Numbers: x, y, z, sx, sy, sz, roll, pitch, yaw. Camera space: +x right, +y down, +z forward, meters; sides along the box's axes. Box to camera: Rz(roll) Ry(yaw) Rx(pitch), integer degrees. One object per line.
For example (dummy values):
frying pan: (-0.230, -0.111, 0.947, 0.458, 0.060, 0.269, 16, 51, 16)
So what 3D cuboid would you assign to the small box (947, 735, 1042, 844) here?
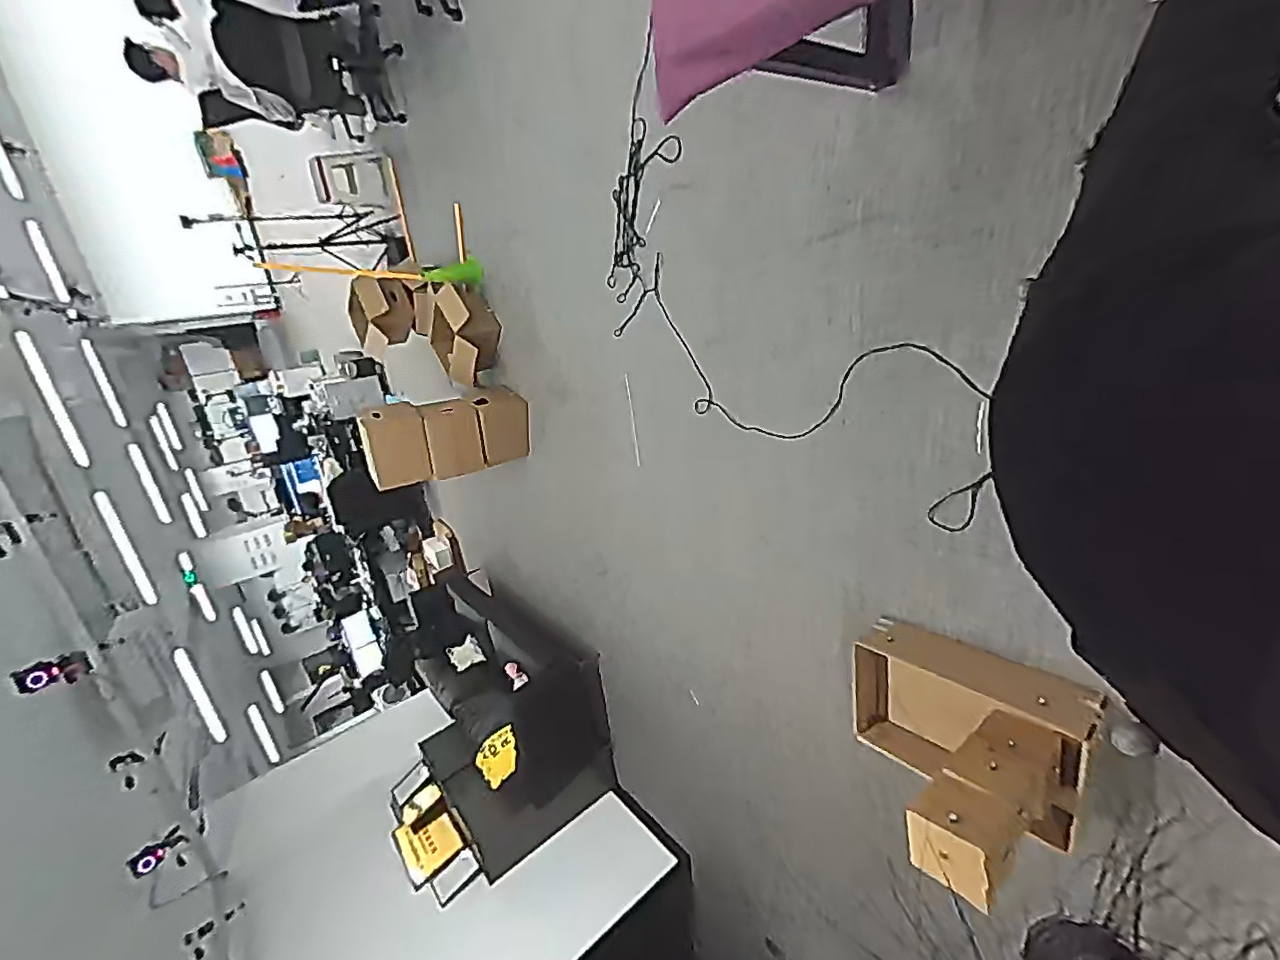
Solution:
small box: (0.916, 0.808, 1.405, 0.168, 0.176, 0.179, 16, 119, 51)

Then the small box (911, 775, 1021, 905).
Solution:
small box: (0.791, 0.857, 1.313, 0.179, 0.176, 0.168, 5, 109, 53)

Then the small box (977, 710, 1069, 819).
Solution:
small box: (1.051, 0.771, 1.491, 0.179, 0.176, 0.168, 11, 115, 54)
